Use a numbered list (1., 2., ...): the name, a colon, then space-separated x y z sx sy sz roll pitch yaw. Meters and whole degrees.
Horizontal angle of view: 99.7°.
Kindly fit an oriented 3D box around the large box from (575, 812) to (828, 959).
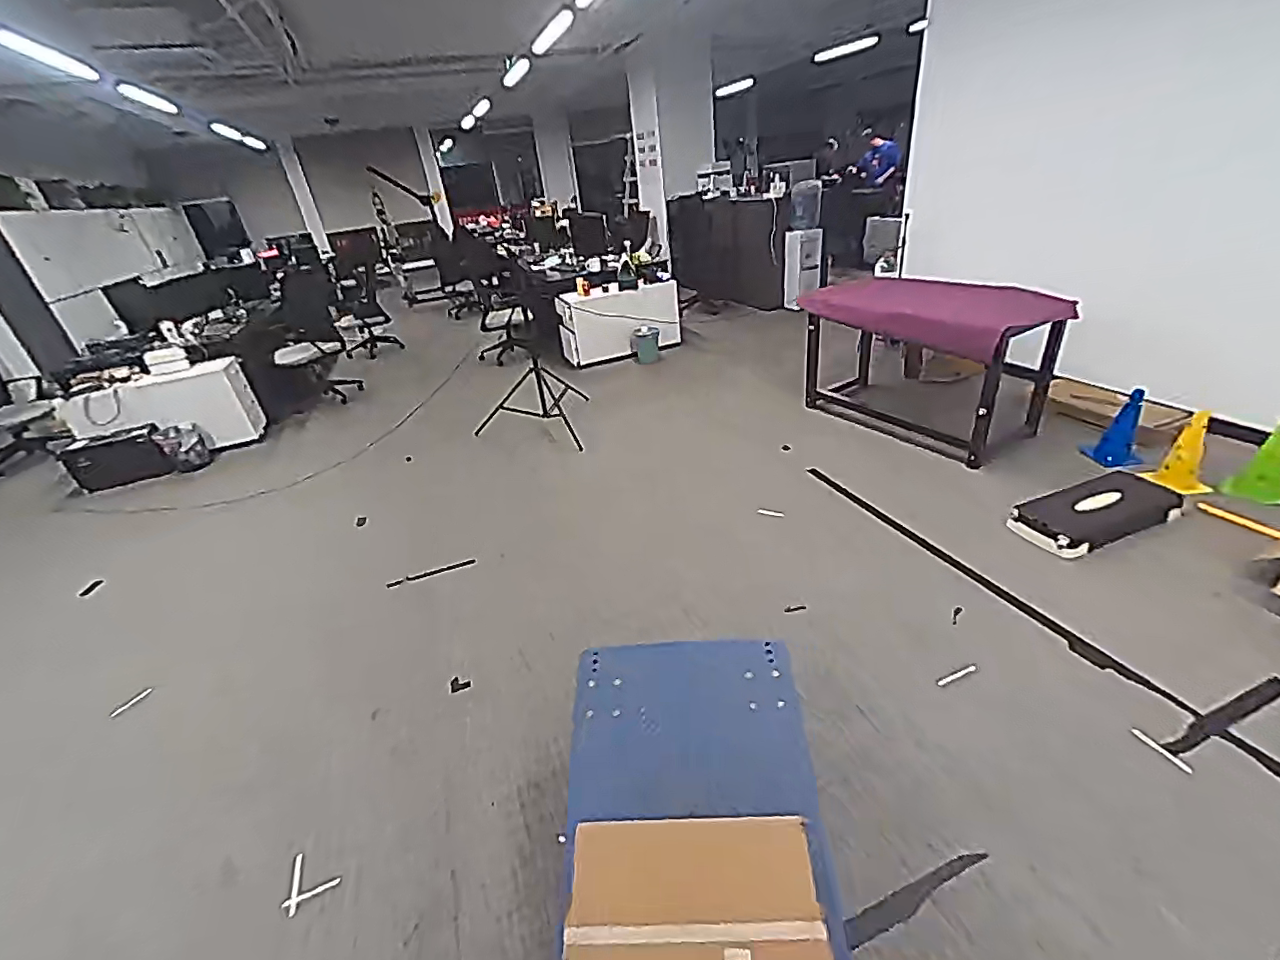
1. large box: 0.103 0.828 0.978 0.408 0.320 0.320 -5 46 3
